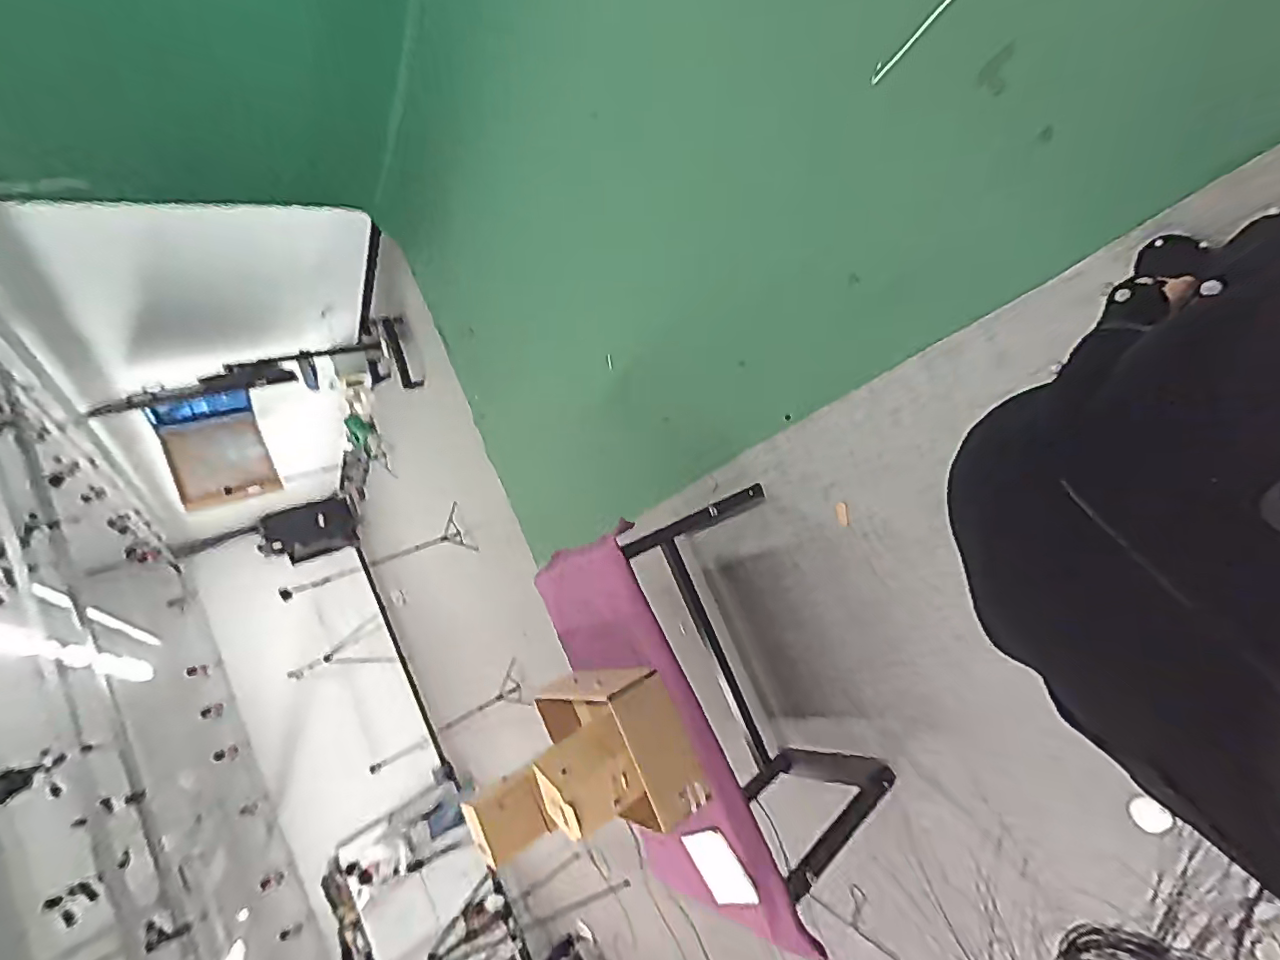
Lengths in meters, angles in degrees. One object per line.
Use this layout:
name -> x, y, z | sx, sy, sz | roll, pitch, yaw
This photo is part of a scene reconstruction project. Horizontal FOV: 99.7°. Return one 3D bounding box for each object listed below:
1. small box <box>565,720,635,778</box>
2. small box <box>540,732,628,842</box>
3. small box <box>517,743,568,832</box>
small box -> -0.137, 0.929, 1.814 | 0.179, 0.176, 0.168 | -30, 81, 52
small box -> -0.147, 0.833, 1.493 | 0.179, 0.176, 0.168 | 5, 111, 54
small box -> -0.260, 0.967, 1.716 | 0.168, 0.176, 0.179 | -34, 78, 52
